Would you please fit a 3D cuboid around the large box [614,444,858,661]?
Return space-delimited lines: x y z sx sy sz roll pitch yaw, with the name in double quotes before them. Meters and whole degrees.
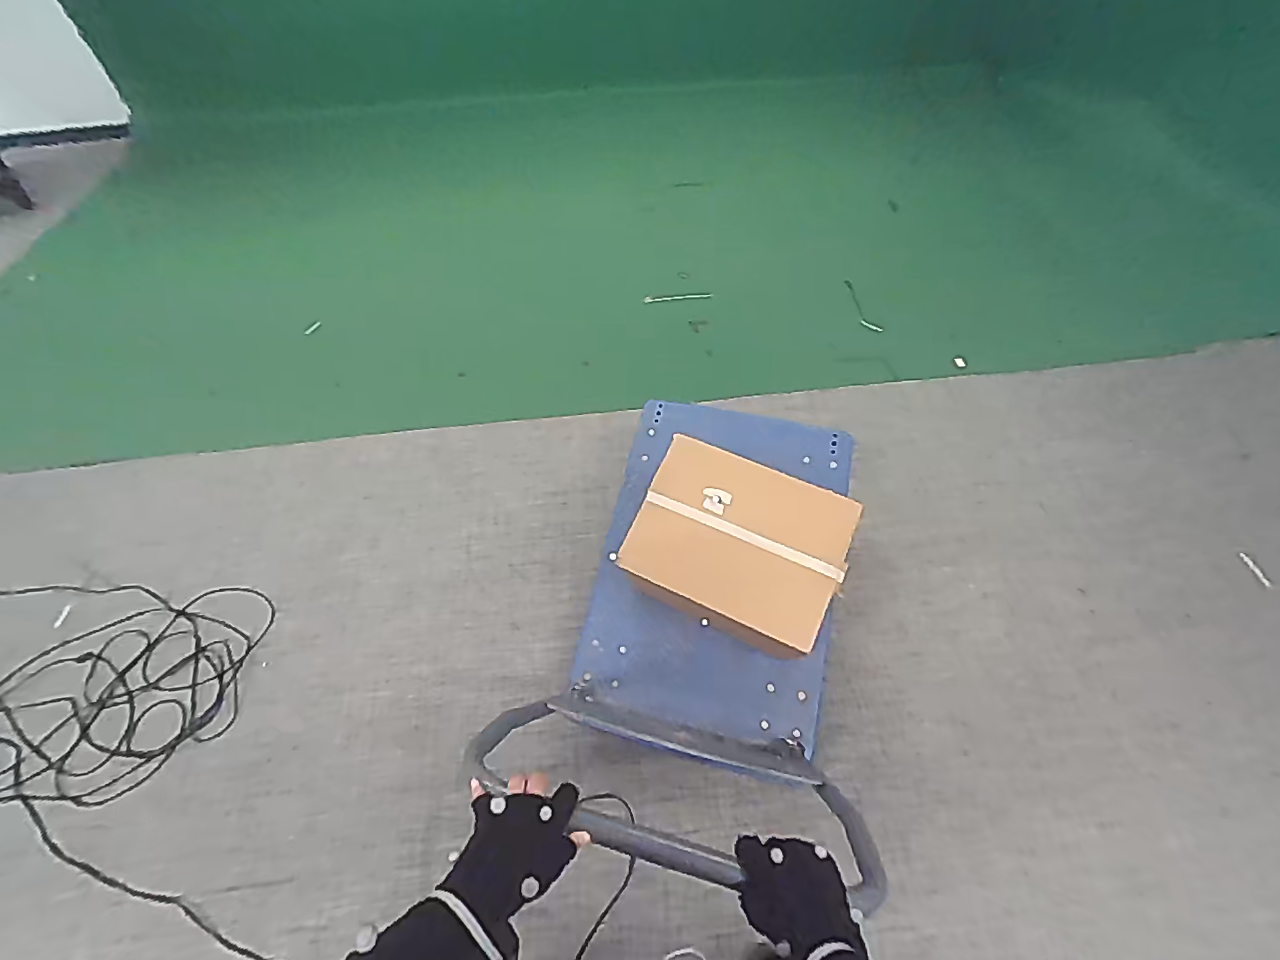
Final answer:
"large box" 0.209 0.174 1.203 0.408 0.320 0.320 22 73 15
